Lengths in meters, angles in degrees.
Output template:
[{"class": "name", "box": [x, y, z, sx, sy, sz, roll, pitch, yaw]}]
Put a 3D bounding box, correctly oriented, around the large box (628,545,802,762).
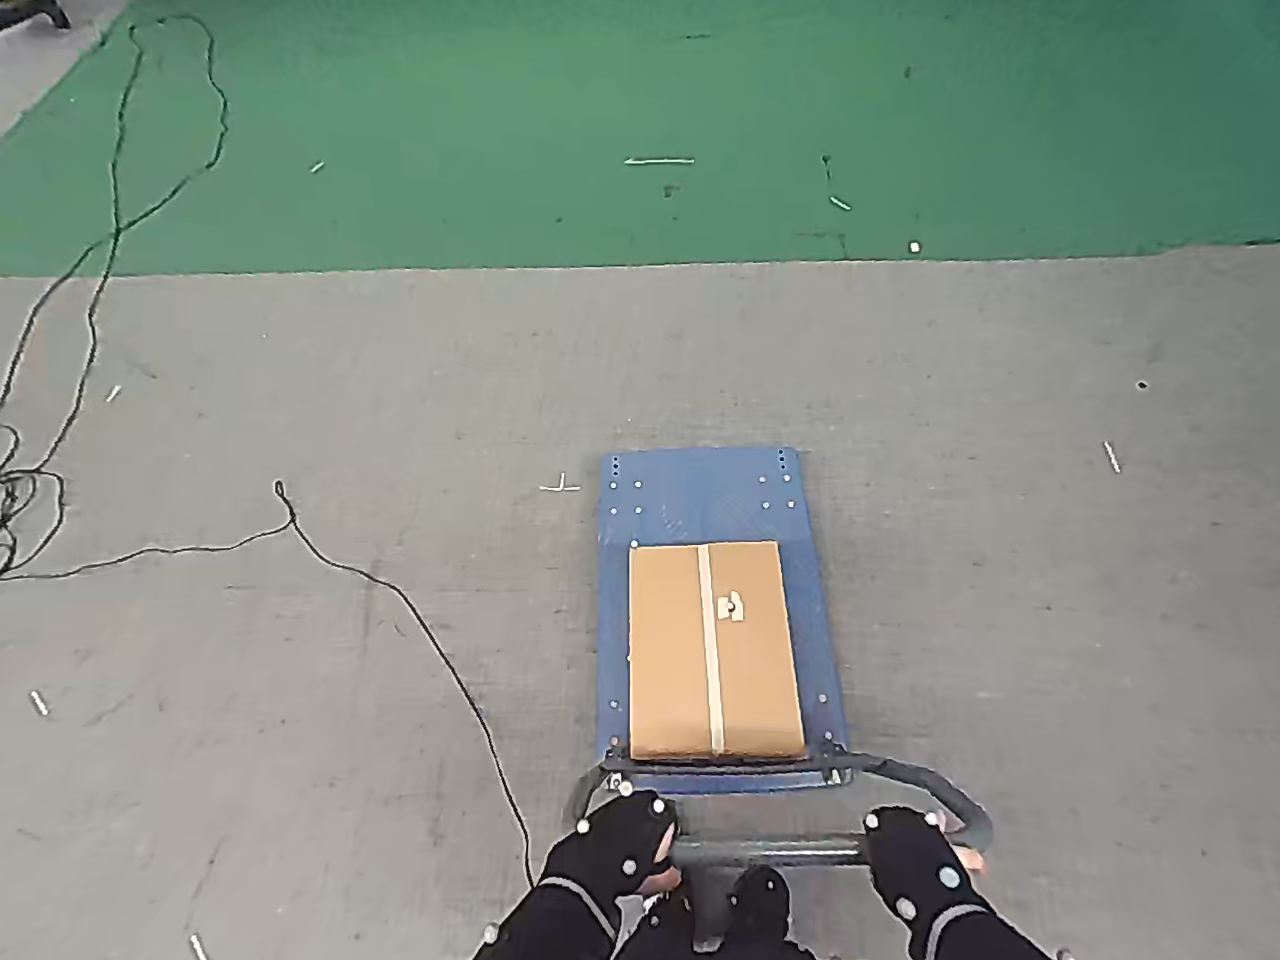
[{"class": "large box", "box": [0.146, 0.393, 1.198, 0.320, 0.320, 0.408, -3, 62, 2]}]
